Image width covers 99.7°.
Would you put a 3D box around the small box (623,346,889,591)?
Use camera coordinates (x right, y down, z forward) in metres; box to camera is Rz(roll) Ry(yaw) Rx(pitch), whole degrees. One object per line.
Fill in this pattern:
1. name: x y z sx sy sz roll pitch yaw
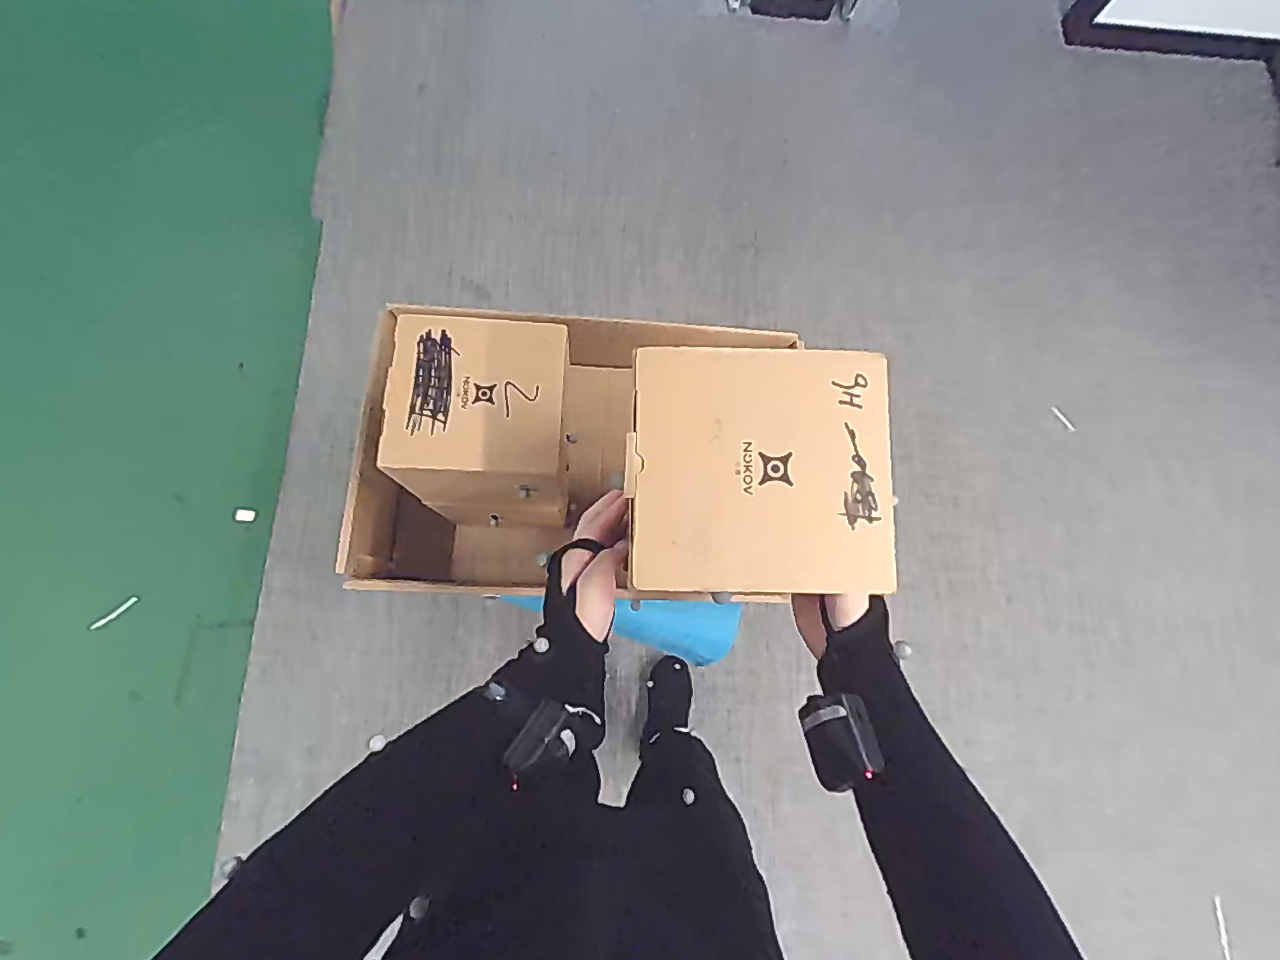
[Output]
1. small box: 0.079 0.000 0.443 0.179 0.176 0.168 1 83 0

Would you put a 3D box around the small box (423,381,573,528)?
1. small box: -0.191 -0.026 0.778 0.179 0.176 0.168 4 76 -6
